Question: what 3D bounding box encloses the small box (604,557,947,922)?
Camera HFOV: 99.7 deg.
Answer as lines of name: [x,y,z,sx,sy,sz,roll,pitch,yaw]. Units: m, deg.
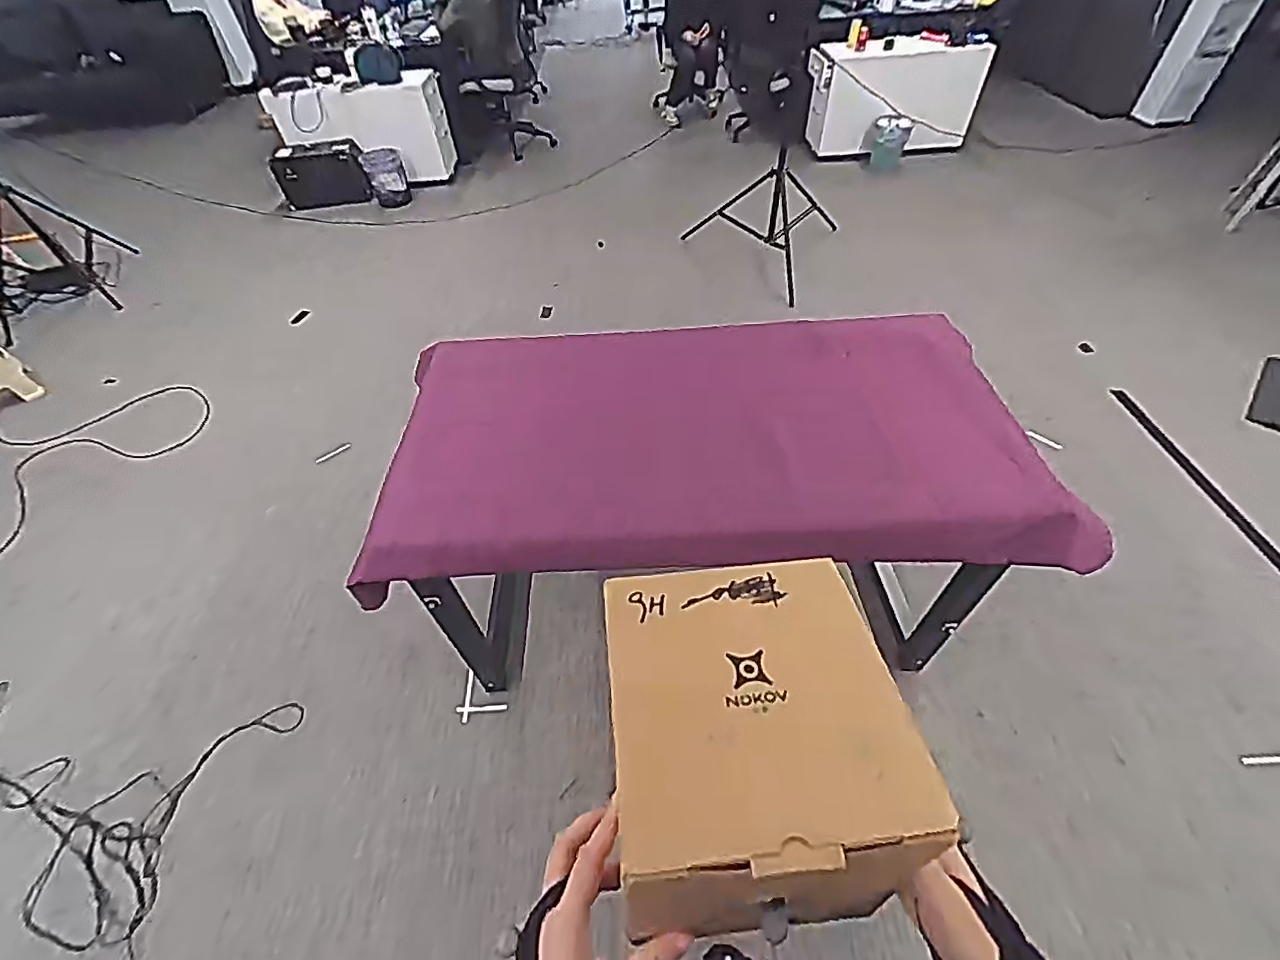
small box: [0.065,0.179,0.372,0.168,0.176,0.179,-4,42,-3]
